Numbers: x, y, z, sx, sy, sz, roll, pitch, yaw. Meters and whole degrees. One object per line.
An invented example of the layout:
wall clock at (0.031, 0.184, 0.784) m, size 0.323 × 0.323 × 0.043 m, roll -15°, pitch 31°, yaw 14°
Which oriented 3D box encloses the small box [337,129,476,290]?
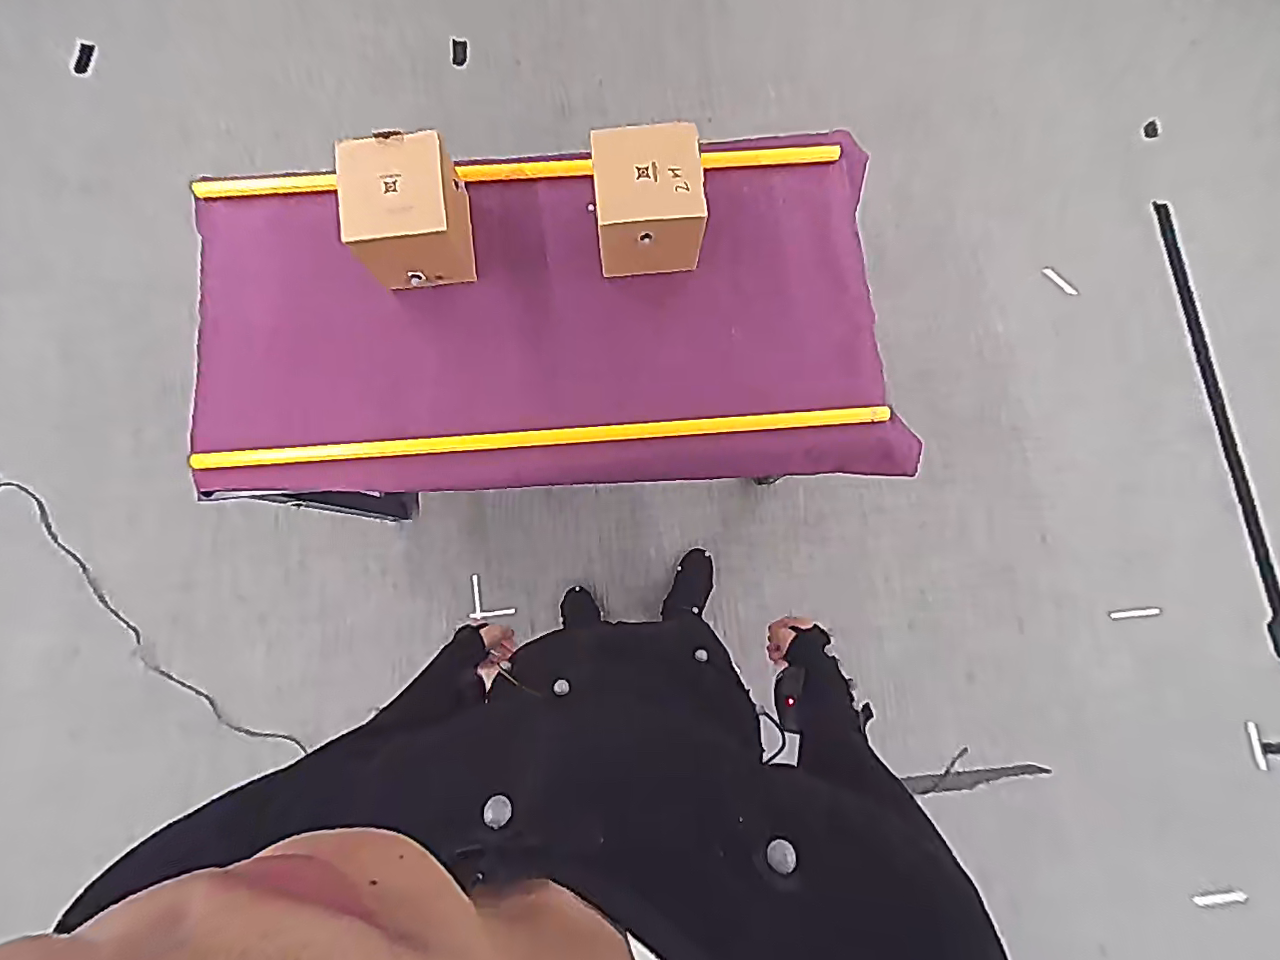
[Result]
small box at (-0.388, -0.452, 0.922) m, size 0.168 × 0.176 × 0.179 m, roll -8°, pitch 83°, yaw -2°

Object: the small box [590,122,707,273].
small box at (0.012, -0.475, 0.932) m, size 0.179 × 0.176 × 0.168 m, roll -5°, pitch 83°, yaw -2°
